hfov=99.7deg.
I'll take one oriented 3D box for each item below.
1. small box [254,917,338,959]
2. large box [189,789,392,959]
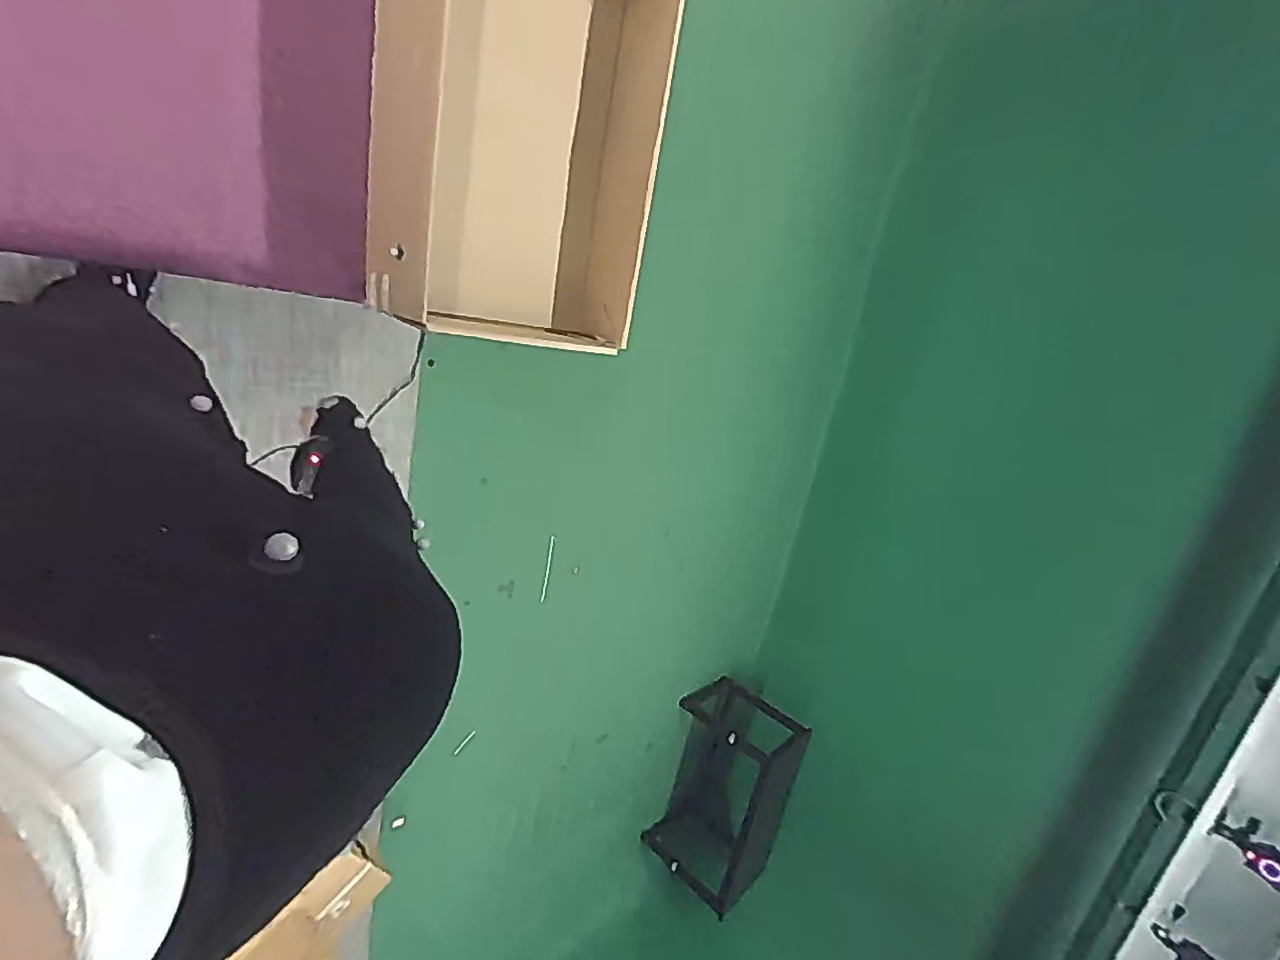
[{"bbox_3d":[-0.989,1.414,1.542,0.179,0.176,0.168,-43,135,-29],"label":"small box"},{"bbox_3d":[-1.115,1.322,1.748,0.408,0.320,0.320,-43,137,-30],"label":"large box"}]
